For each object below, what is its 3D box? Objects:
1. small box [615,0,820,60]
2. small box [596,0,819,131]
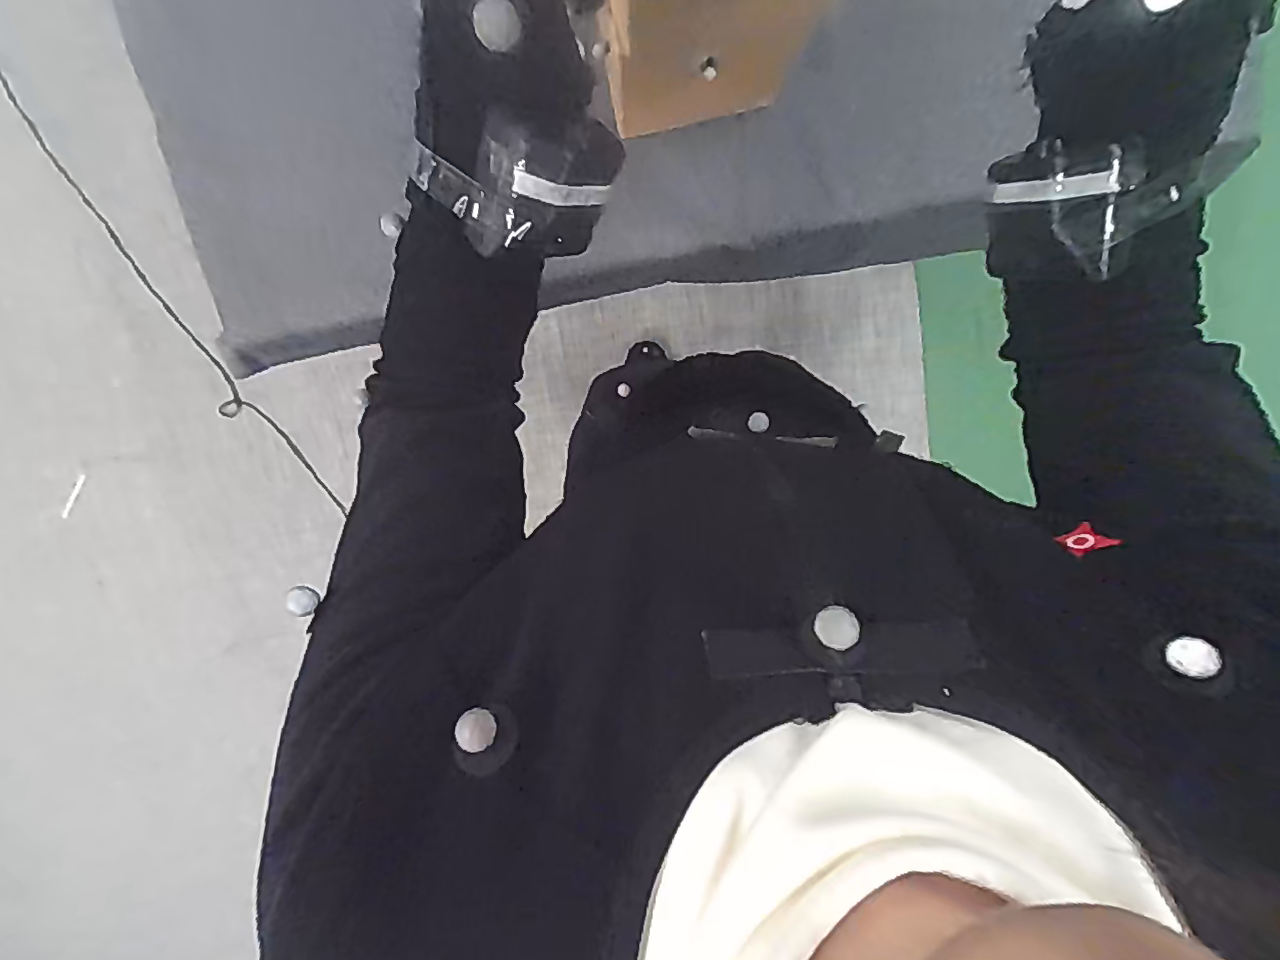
[{"bbox_3d":[0.059,-0.424,0.351,0.179,0.176,0.168,-15,103,2],"label":"small box"},{"bbox_3d":[0.047,-0.462,0.510,0.179,0.176,0.168,-12,103,1],"label":"small box"}]
